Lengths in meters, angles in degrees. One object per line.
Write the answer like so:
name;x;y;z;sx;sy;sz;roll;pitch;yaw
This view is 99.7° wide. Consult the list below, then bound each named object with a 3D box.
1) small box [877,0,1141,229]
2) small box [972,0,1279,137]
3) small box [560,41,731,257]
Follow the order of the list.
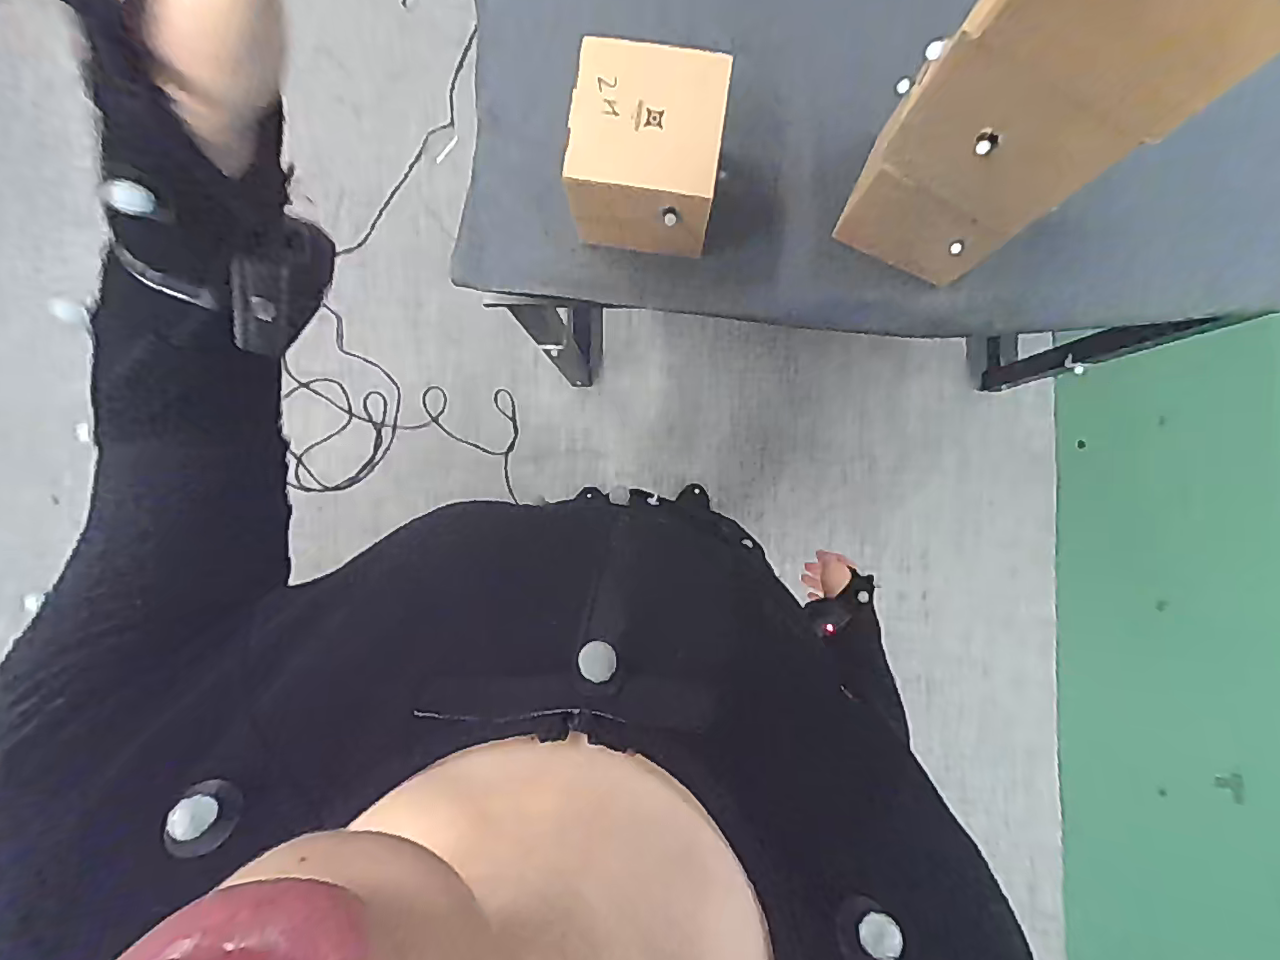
small box;0.372;-0.377;0.519;0.179;0.176;0.168;34;89;2
small box;0.372;-0.378;0.357;0.179;0.176;0.168;33;89;2
small box;0.008;-0.405;0.692;0.179;0.176;0.168;9;90;2
